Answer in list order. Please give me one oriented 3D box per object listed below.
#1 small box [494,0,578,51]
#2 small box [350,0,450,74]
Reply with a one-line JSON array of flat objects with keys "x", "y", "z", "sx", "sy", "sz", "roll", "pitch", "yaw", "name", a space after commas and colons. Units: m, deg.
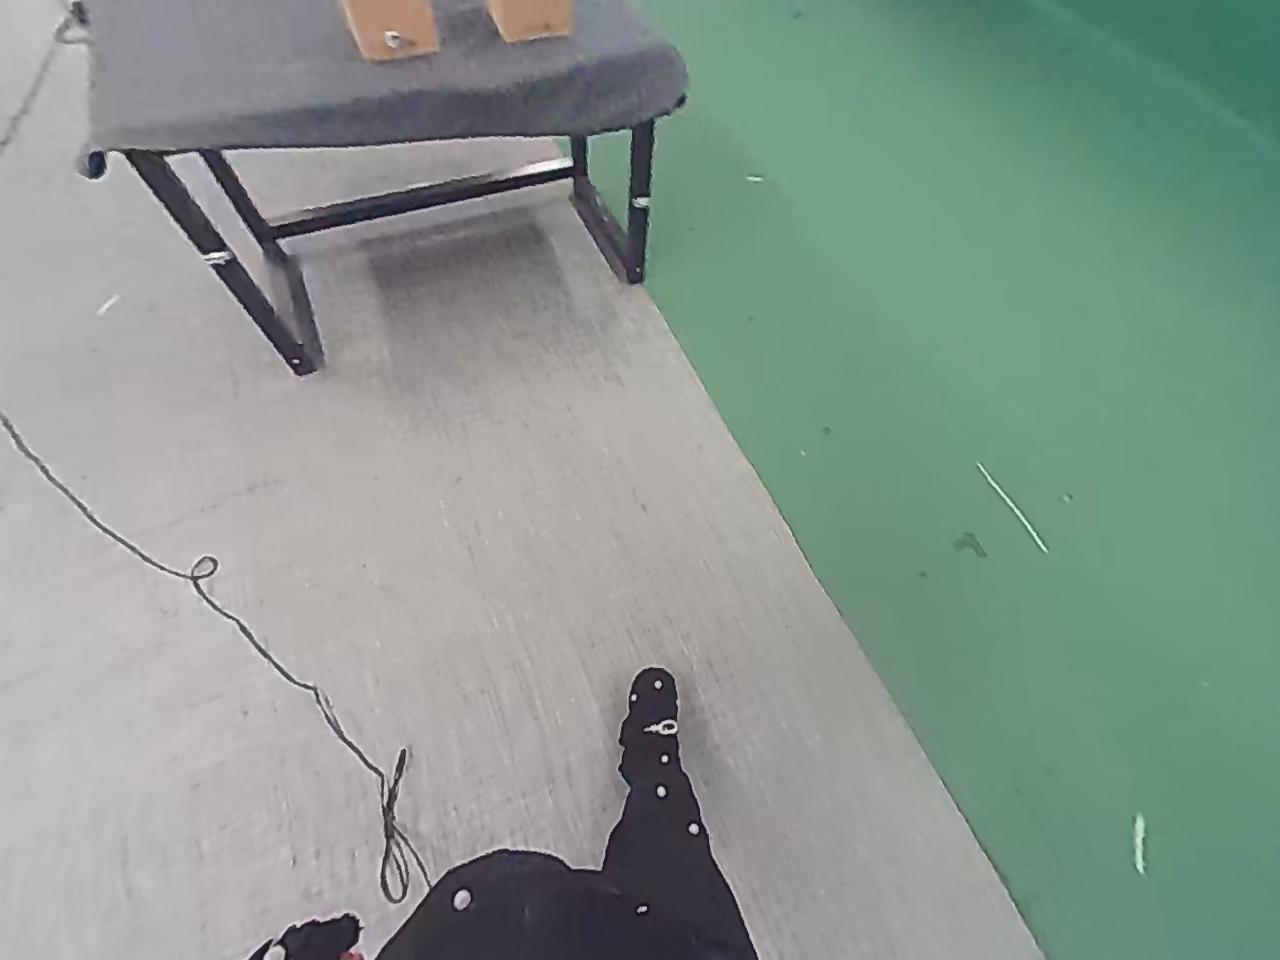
[{"x": -0.248, "y": -1.137, "z": 1.255, "sx": 0.168, "sy": 0.176, "sz": 0.179, "roll": -18, "pitch": 63, "yaw": -12, "name": "small box"}, {"x": -0.538, "y": -1.033, "z": 1.184, "sx": 0.168, "sy": 0.176, "sz": 0.179, "roll": -23, "pitch": 66, "yaw": -14, "name": "small box"}]
